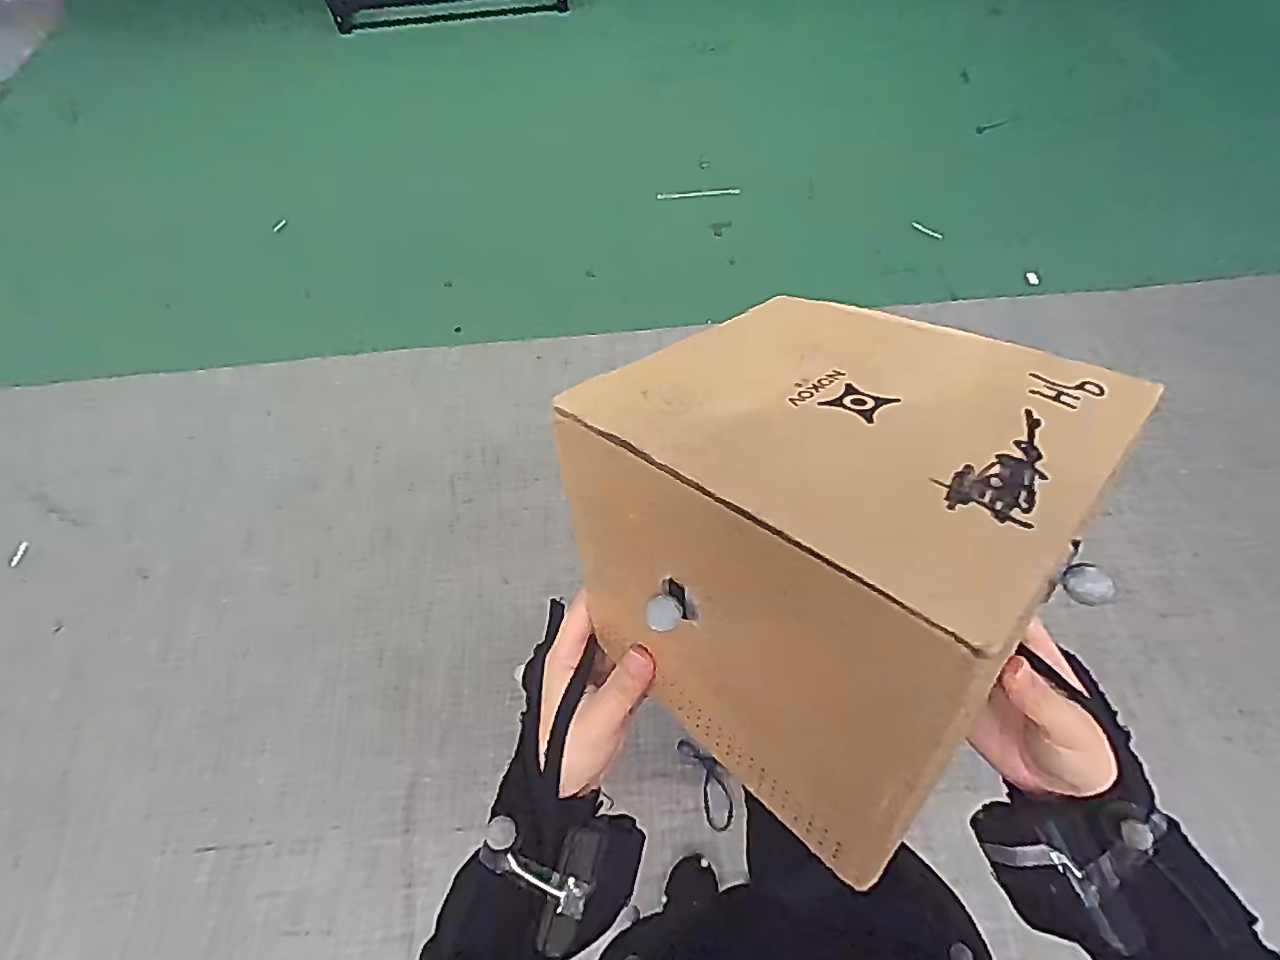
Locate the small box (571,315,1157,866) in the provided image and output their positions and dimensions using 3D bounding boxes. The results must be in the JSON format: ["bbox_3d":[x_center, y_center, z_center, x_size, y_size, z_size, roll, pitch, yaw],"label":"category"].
[{"bbox_3d":[0.091,0.038,0.270,0.168,0.176,0.179,-33,44,-30],"label":"small box"}]
